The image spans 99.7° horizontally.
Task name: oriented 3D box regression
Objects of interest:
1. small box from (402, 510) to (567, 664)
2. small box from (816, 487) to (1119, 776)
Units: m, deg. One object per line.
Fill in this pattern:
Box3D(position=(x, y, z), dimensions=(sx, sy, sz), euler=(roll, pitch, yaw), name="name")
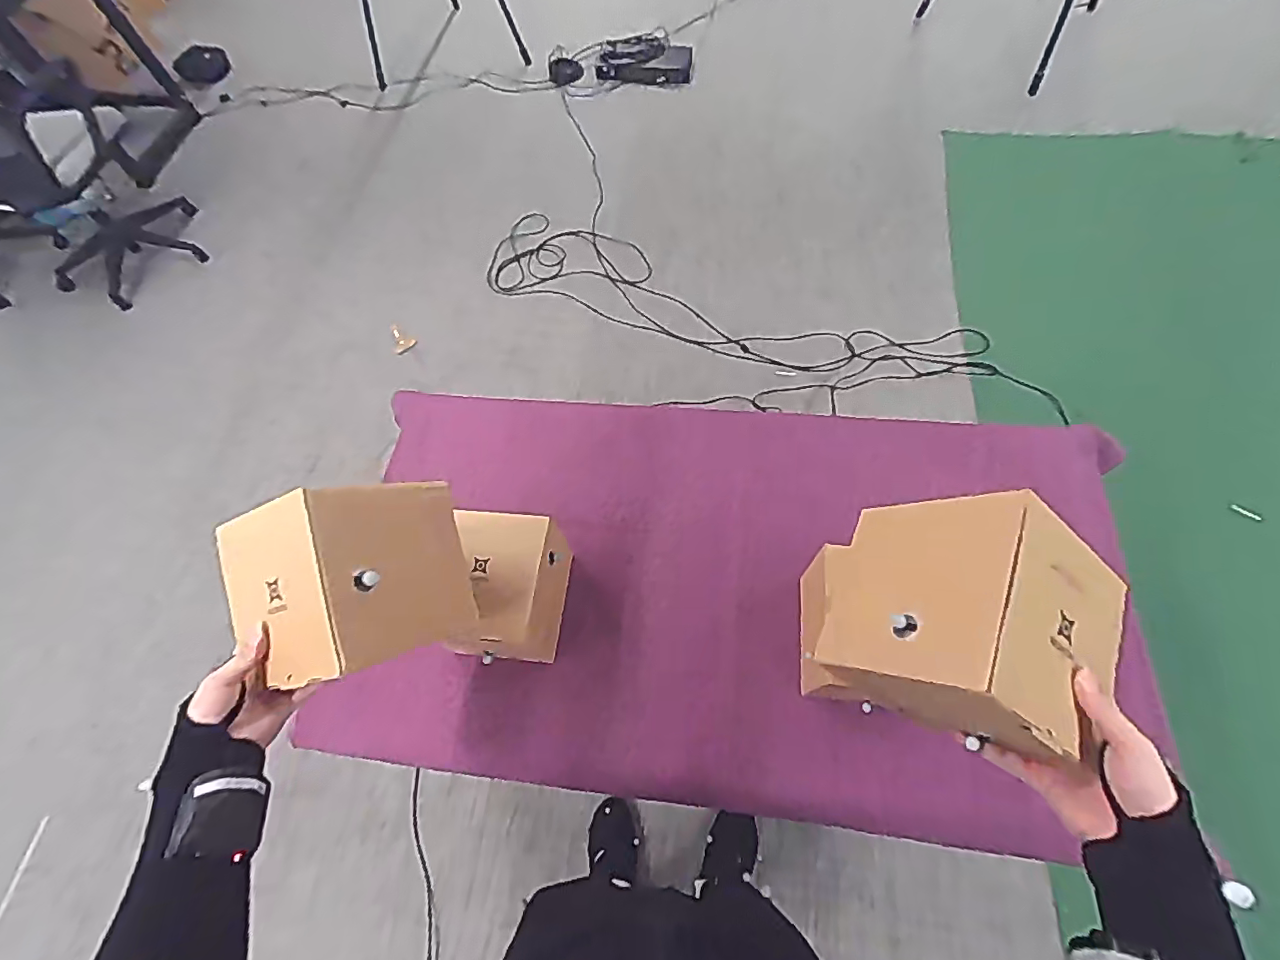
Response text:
Box3D(position=(-0.211, 0.161, 0.795), dimensions=(0.168, 0.176, 0.179), euler=(3, 64, 8), name="small box")
Box3D(position=(0.294, 0.131, 0.503), dimensions=(0.168, 0.176, 0.179), euler=(36, 67, -19), name="small box")
